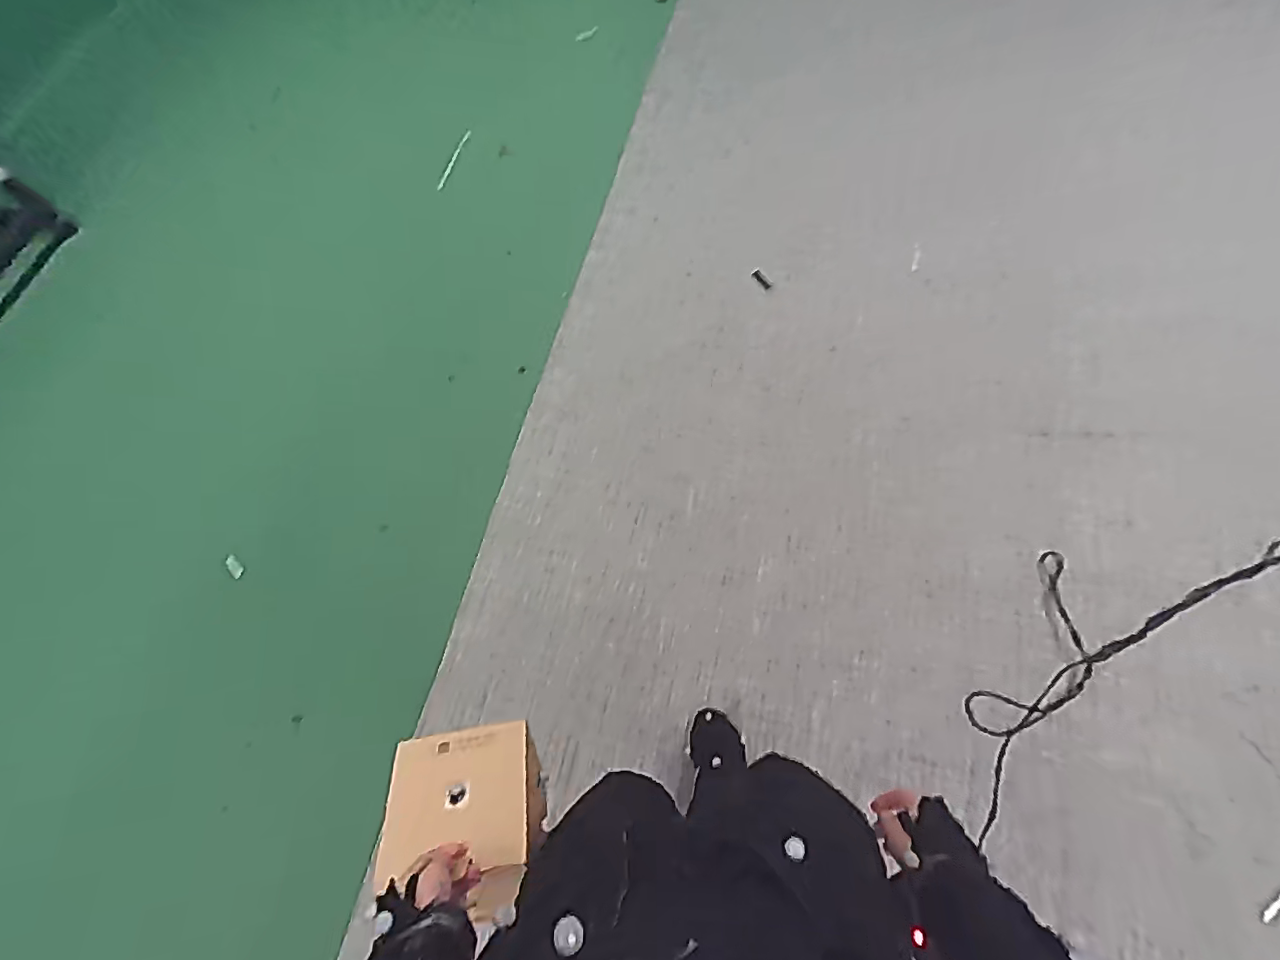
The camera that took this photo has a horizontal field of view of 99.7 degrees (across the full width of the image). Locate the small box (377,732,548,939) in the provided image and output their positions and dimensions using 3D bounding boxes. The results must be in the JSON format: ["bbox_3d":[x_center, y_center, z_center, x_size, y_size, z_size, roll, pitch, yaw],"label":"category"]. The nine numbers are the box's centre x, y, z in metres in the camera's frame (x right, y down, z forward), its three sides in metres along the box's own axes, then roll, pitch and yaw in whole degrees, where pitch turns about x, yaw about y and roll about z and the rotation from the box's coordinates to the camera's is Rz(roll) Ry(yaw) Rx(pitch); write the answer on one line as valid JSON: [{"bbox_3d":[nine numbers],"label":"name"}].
[{"bbox_3d":[-0.215,0.443,0.692,0.168,0.179,0.176,-8,40,-8],"label":"small box"}]
